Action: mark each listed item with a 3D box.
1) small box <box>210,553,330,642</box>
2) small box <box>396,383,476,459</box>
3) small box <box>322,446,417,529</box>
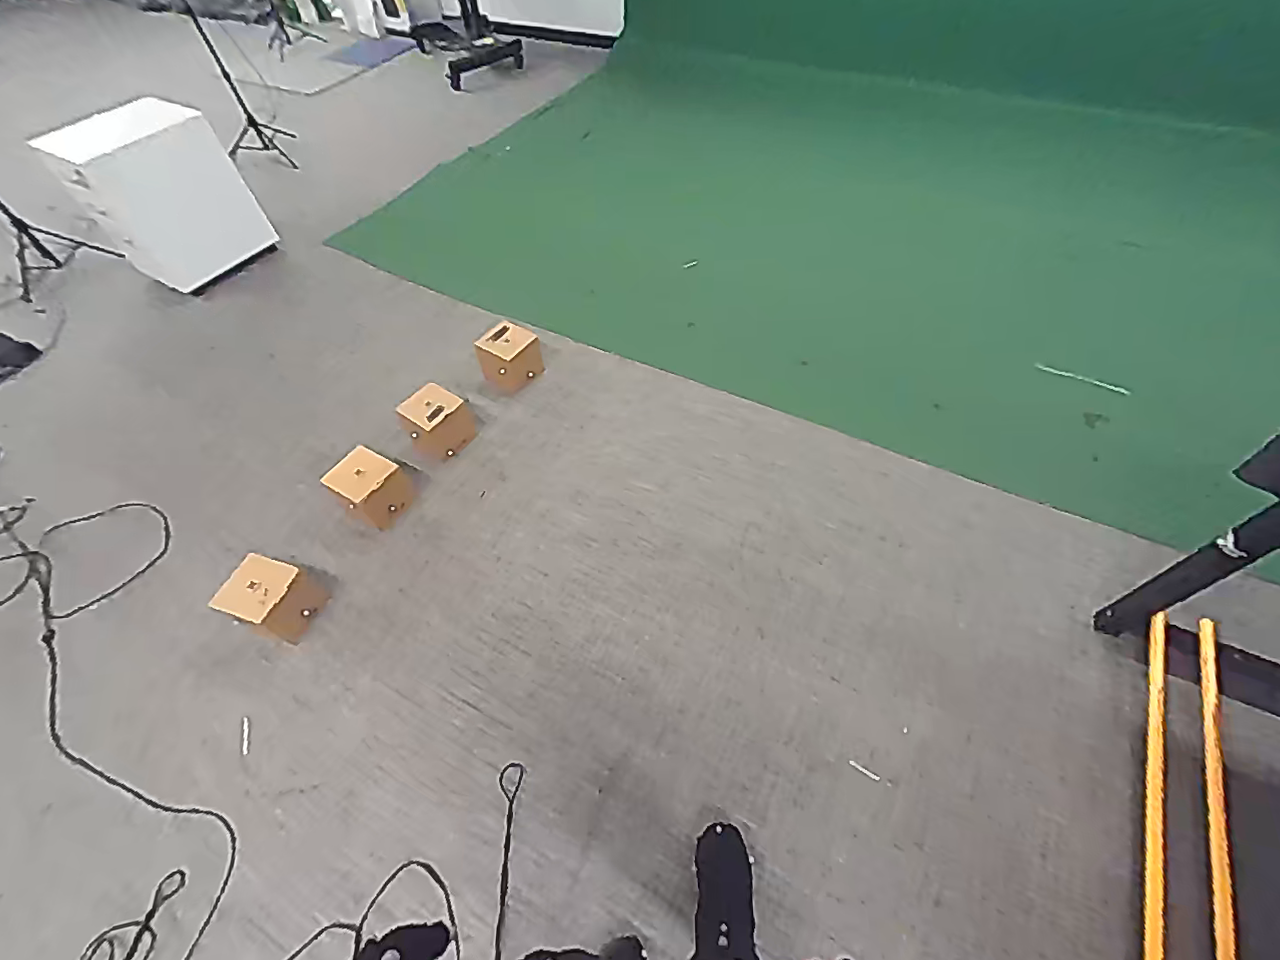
[{"bbox_3d":[-1.016,0.331,1.502,0.179,0.176,0.168,13,57,12],"label":"small box"},{"bbox_3d":[-0.698,-0.199,1.873,0.179,0.176,0.168,29,60,23],"label":"small box"},{"bbox_3d":[-0.850,0.028,1.716,0.179,0.176,0.168,24,59,18],"label":"small box"}]
